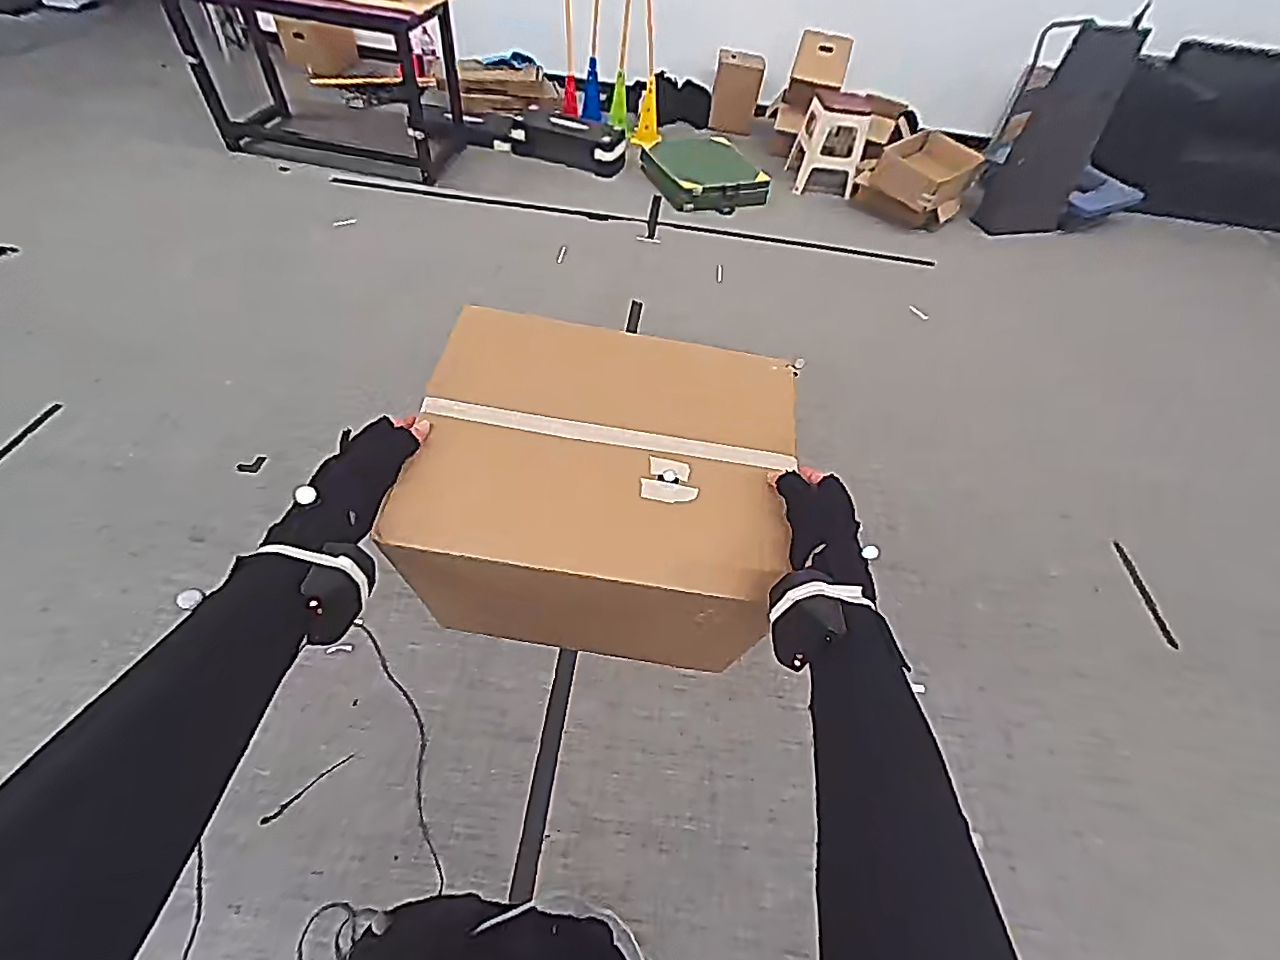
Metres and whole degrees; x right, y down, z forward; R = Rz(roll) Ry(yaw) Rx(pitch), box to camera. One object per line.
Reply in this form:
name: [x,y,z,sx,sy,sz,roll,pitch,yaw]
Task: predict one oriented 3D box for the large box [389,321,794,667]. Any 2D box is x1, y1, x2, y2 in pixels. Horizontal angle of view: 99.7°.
large box: [-0.047,0.037,0.721,0.408,0.320,0.320,10,60,-2]
